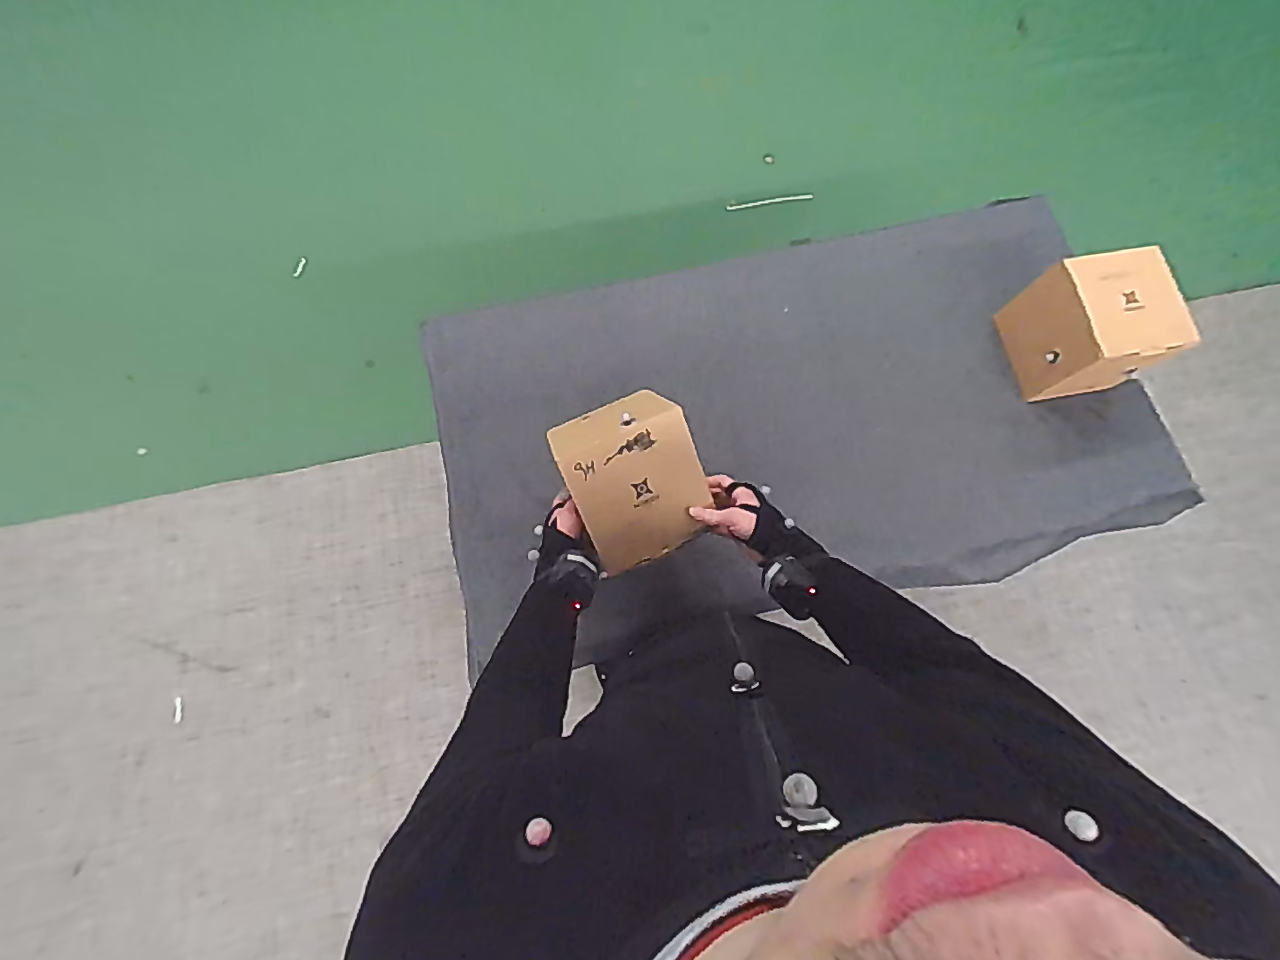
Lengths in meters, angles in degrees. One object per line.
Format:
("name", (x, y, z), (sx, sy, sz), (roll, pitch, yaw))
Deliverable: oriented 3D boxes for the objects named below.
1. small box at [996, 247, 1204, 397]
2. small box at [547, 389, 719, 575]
("small box", (0.745, -0.251, 0.898), (0.168, 0.176, 0.179), (-10, 74, -5))
("small box", (-0.016, -0.008, 0.737), (0.168, 0.176, 0.179), (-25, 110, -5))
